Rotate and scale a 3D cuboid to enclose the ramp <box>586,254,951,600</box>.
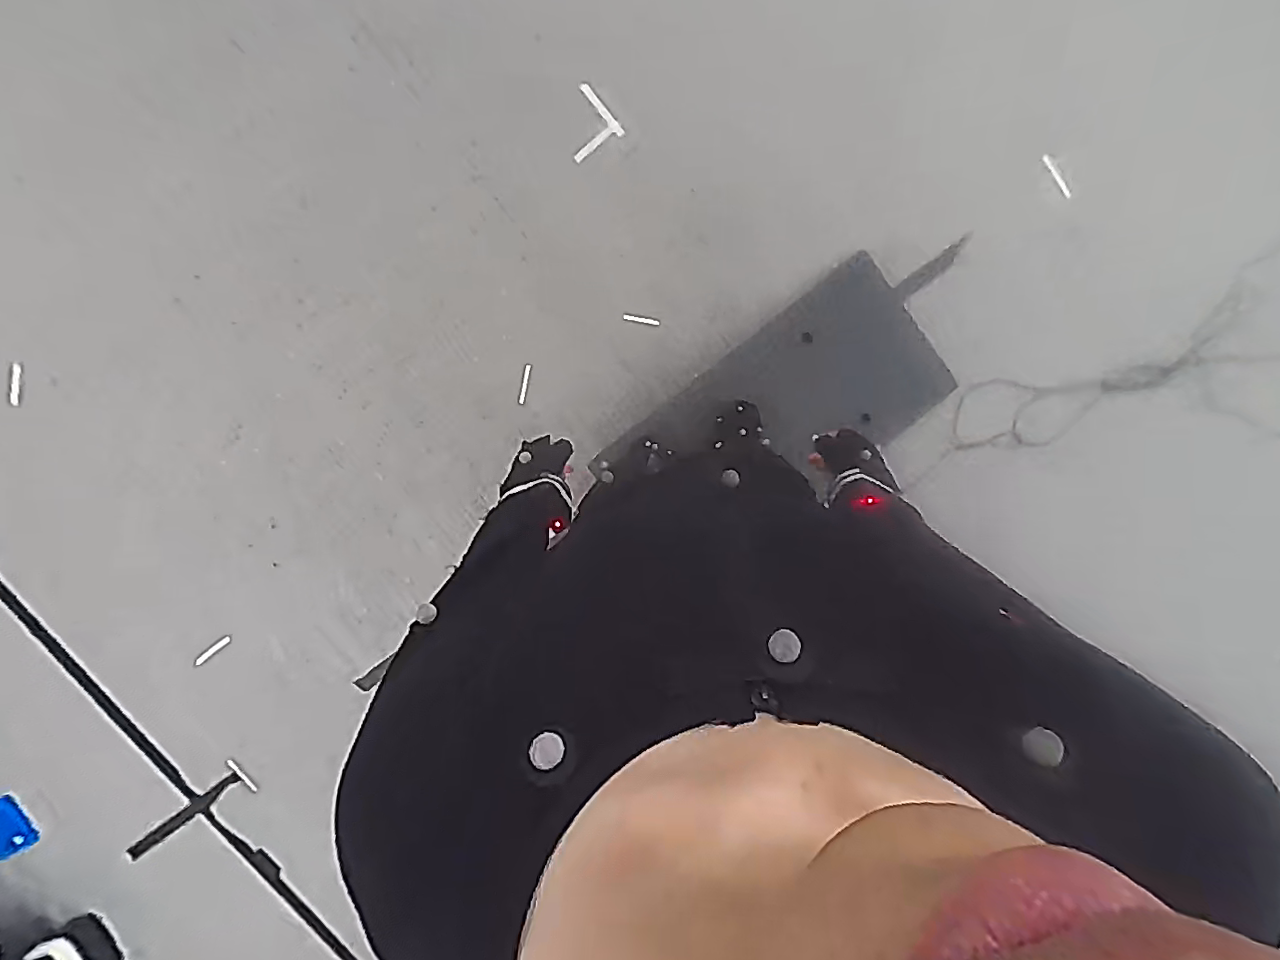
[{"bbox_3d":[0.379,-0.159,1.530,0.991,0.206,0.509,-39,93,6],"label":"ramp"}]
